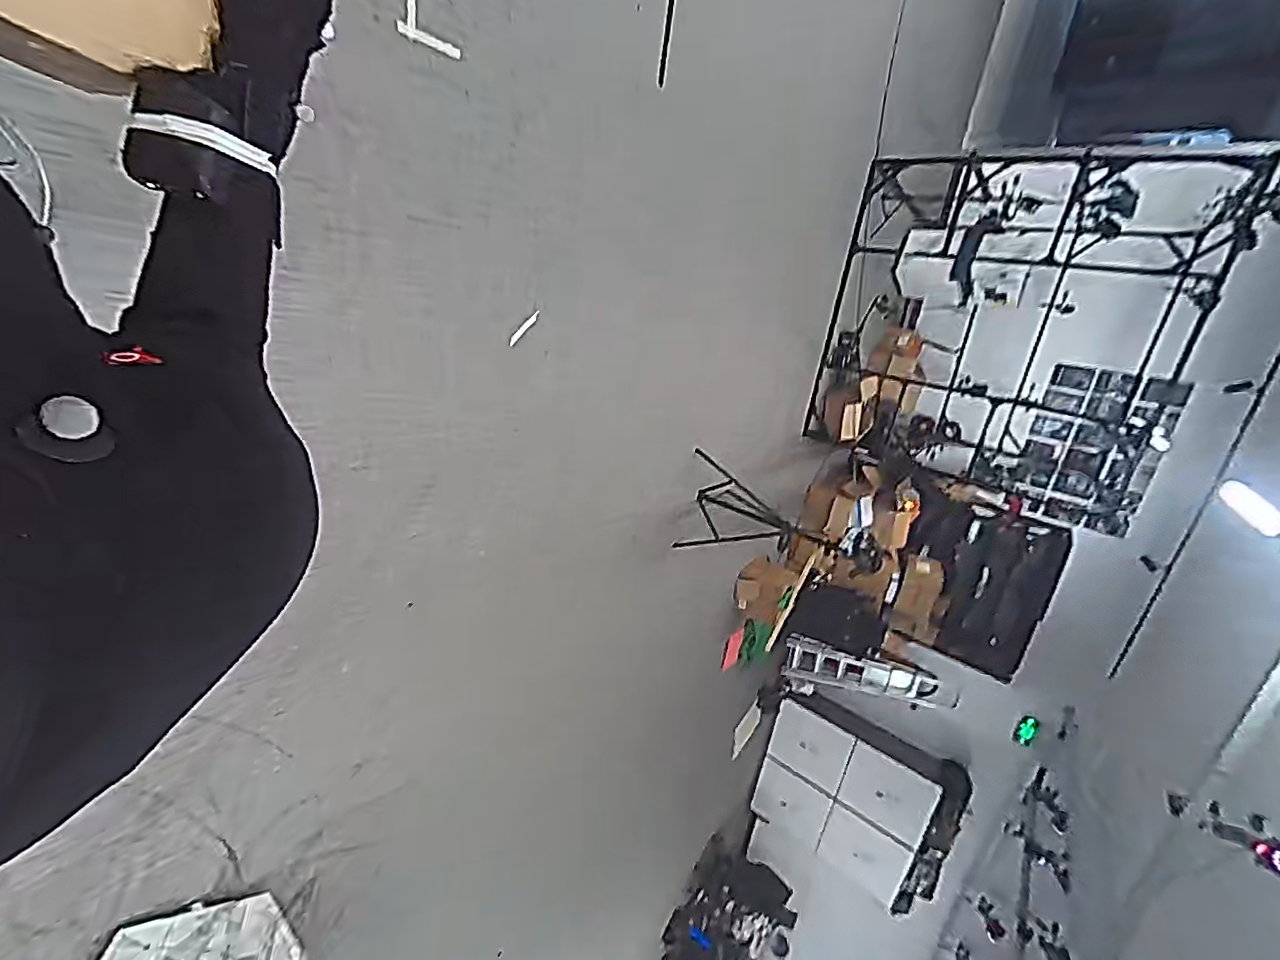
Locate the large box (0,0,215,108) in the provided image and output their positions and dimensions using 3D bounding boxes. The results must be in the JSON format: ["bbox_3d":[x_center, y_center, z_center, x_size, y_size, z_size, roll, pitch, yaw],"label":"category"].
[{"bbox_3d":[-0.492,-0.456,0.260,0.408,0.320,0.320,-3,117,-57],"label":"large box"}]
